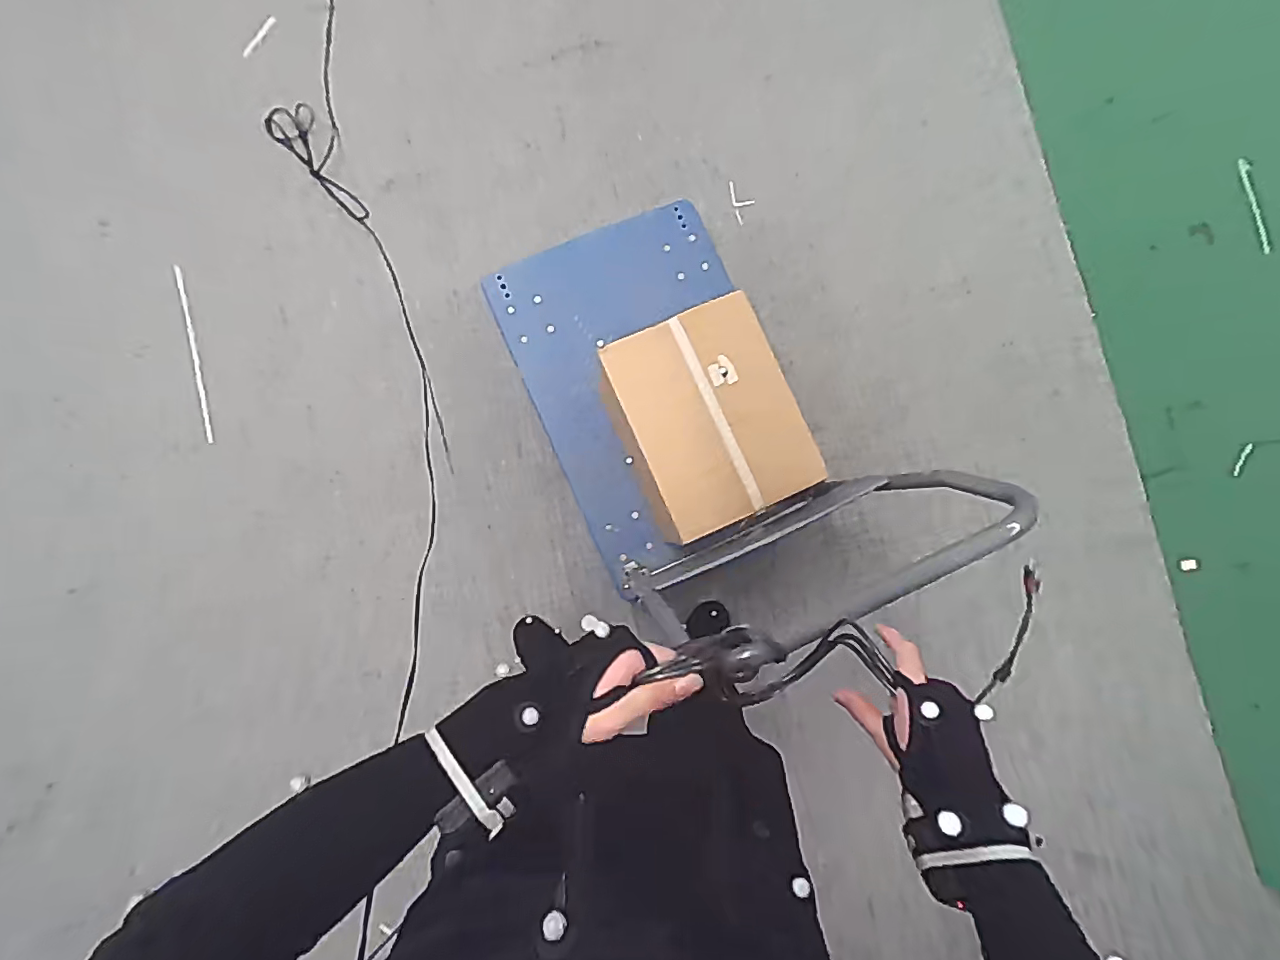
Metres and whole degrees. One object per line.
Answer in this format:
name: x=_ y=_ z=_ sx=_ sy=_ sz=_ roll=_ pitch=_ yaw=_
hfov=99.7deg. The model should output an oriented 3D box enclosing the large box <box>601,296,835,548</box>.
large box: x=0.139 y=-0.100 z=1.156 sx=0.320 sy=0.320 sz=0.408 roll=-24 pitch=86 yaw=-7
